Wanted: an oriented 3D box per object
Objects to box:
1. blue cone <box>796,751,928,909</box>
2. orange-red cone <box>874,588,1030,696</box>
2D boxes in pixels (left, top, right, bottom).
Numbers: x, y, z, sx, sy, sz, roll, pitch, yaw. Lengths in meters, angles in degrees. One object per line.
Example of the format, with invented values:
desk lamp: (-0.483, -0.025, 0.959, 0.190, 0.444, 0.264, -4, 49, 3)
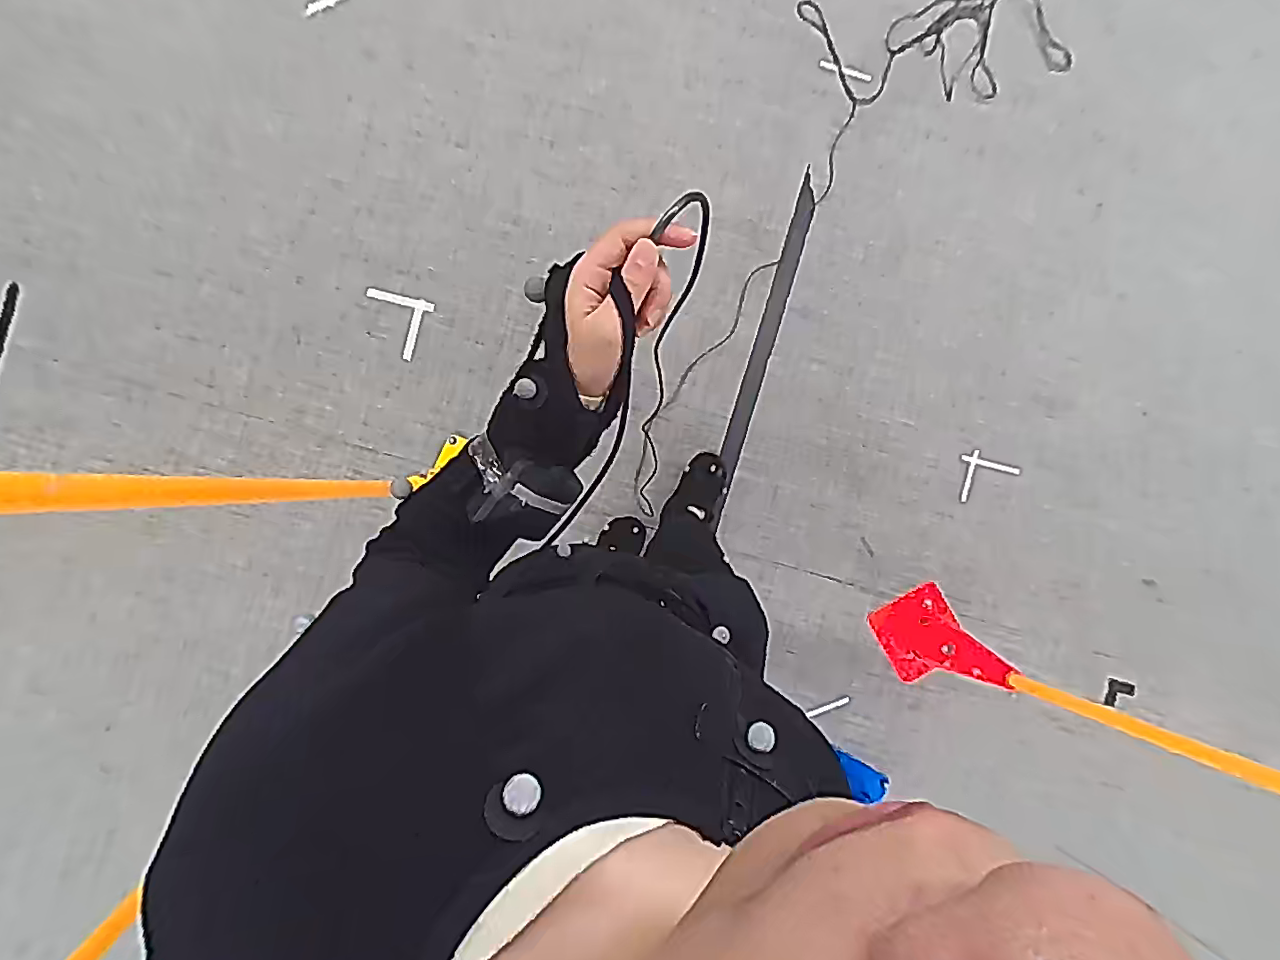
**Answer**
blue cone: (0.502, 0.783, 1.171, 0.193, 0.380, 0.192, 31, 88, 0)
orange-red cone: (0.701, 0.387, 1.170, 0.199, 0.360, 0.198, -28, 88, 0)
